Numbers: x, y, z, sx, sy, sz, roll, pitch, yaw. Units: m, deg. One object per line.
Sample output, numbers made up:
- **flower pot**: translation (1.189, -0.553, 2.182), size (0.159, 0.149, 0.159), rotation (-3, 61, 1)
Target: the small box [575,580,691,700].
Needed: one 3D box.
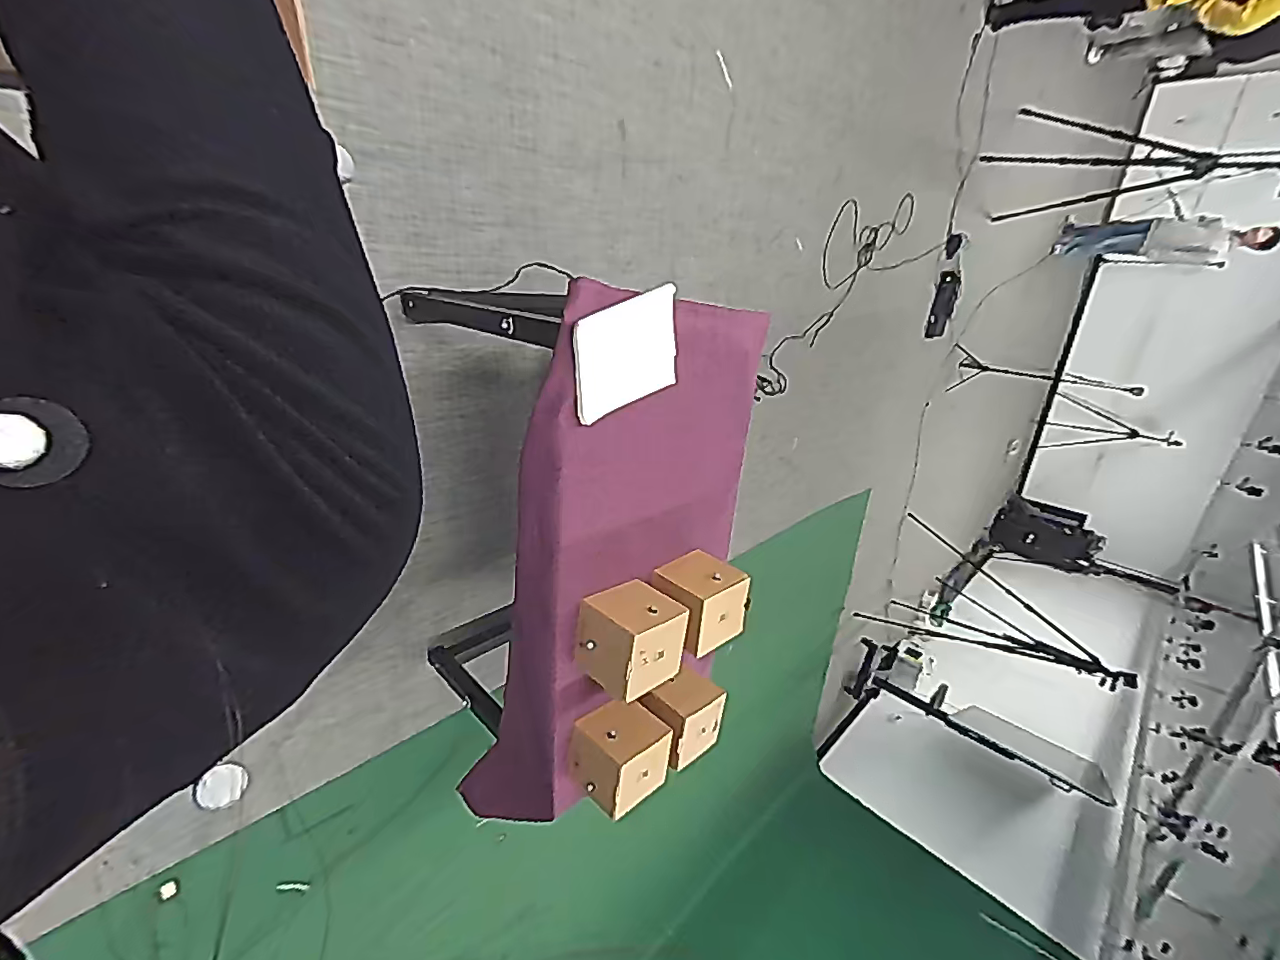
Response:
- **small box**: translation (-0.017, 0.340, 1.191), size (0.179, 0.176, 0.168), rotation (-10, 115, -45)

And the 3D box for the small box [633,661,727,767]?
- **small box**: translation (0.103, 0.618, 1.453), size (0.179, 0.176, 0.168), rotation (-7, 113, -45)

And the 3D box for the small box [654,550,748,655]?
- **small box**: translation (0.143, 0.296, 1.349), size (0.179, 0.176, 0.168), rotation (-17, 120, -42)
